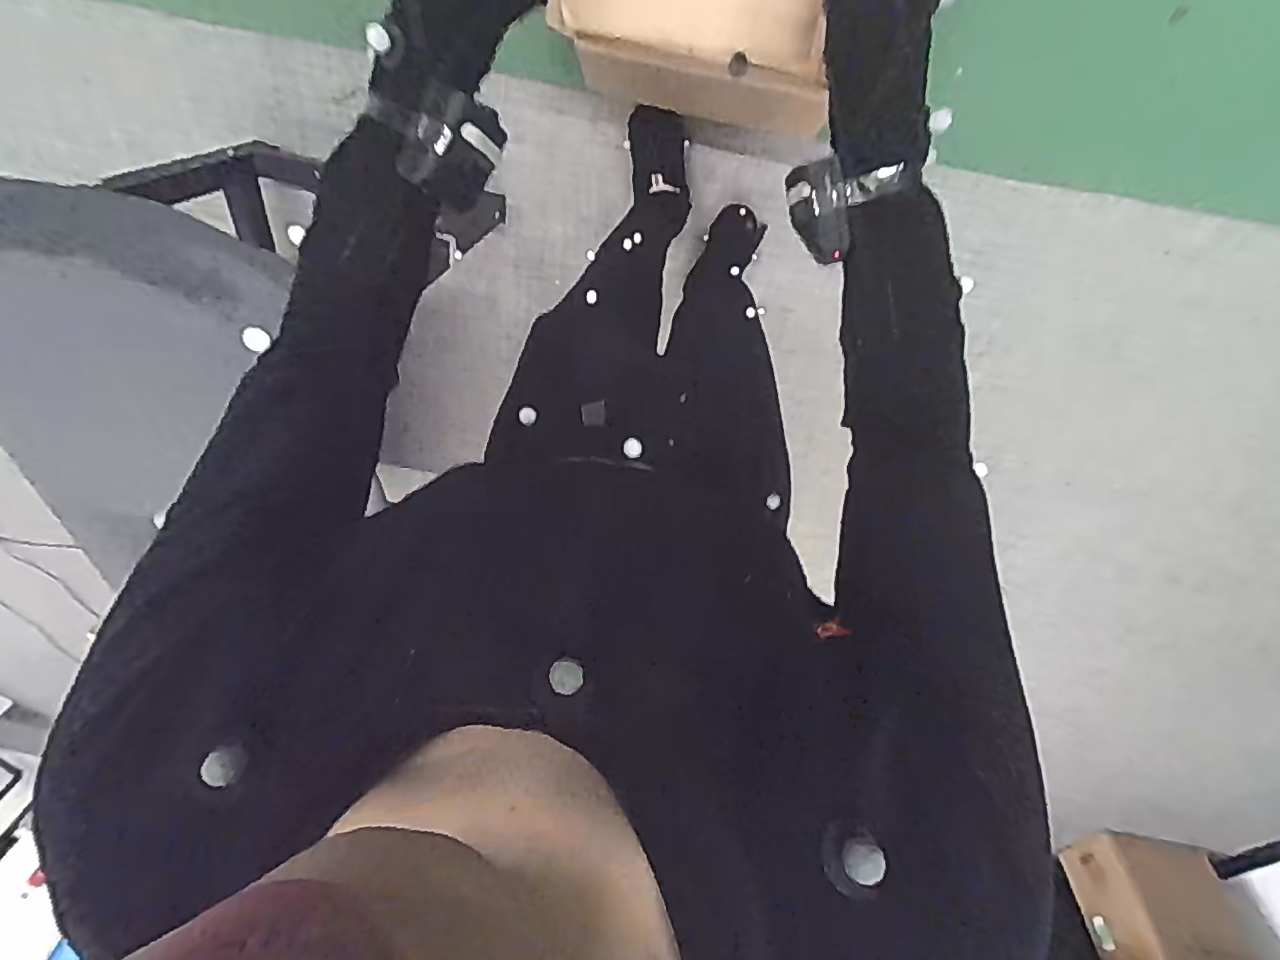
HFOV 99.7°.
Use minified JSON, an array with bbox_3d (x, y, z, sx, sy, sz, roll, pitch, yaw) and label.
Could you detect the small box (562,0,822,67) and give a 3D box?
[{"bbox_3d":[0.047,-0.415,0.384,0.179,0.176,0.168,8,132,1],"label":"small box"}]
